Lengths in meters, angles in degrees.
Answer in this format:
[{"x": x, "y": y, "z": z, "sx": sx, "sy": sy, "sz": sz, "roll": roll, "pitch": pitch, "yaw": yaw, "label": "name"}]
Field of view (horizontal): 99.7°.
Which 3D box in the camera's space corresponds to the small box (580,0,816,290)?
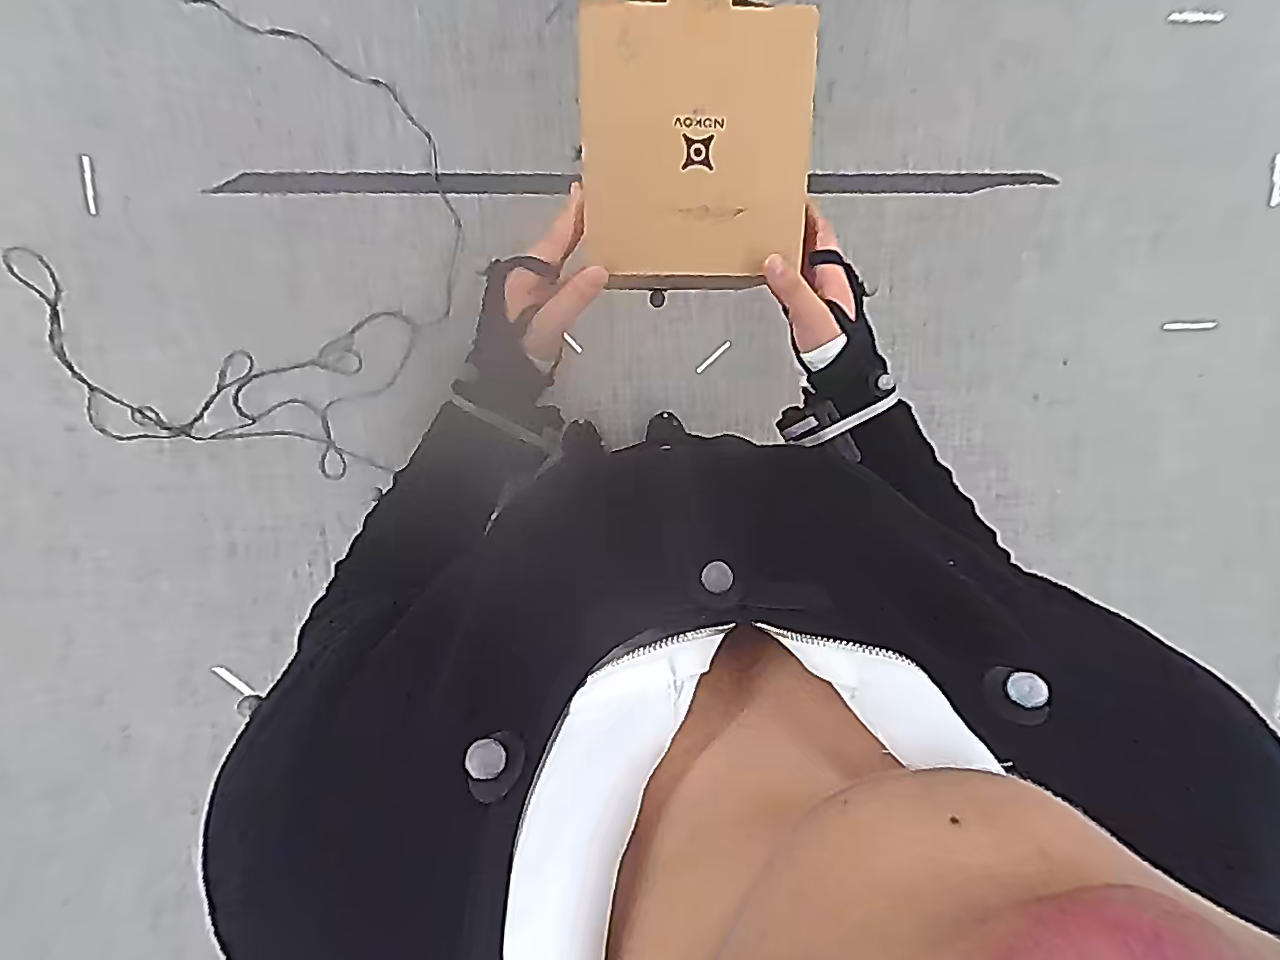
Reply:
[{"x": 0.033, "y": -0.262, "z": 0.461, "sx": 0.168, "sy": 0.176, "sz": 0.179, "roll": -2, "pitch": 106, "yaw": -5, "label": "small box"}]
